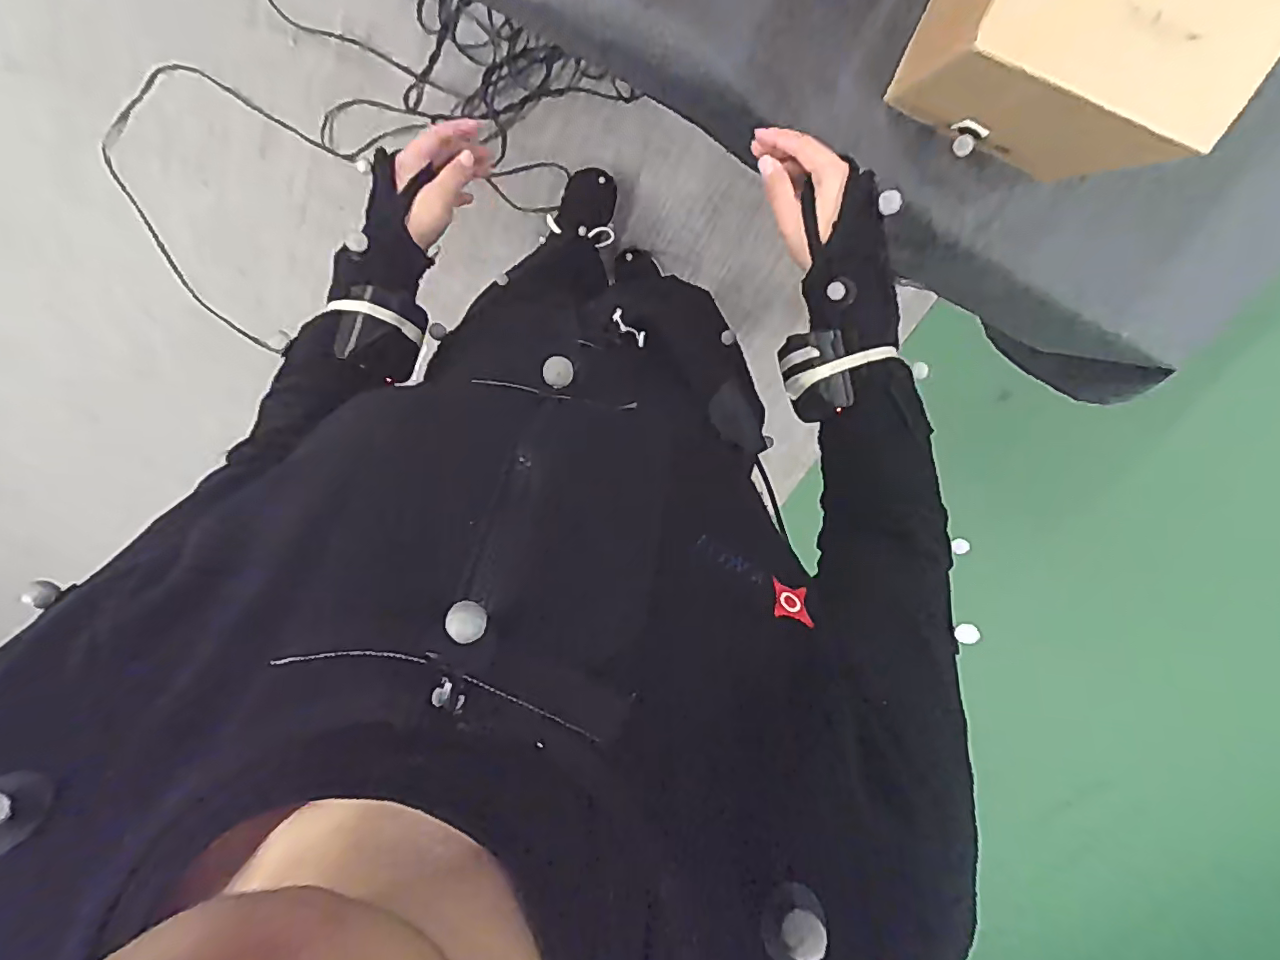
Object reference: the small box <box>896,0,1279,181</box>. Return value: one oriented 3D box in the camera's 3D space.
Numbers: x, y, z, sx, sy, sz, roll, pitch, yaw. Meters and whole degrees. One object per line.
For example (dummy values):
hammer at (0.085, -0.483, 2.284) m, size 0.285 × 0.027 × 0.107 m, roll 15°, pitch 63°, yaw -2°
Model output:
small box at (0.309, -0.329, 0.367) m, size 0.168 × 0.176 × 0.179 m, roll 20°, pitch 114°, yaw -4°
